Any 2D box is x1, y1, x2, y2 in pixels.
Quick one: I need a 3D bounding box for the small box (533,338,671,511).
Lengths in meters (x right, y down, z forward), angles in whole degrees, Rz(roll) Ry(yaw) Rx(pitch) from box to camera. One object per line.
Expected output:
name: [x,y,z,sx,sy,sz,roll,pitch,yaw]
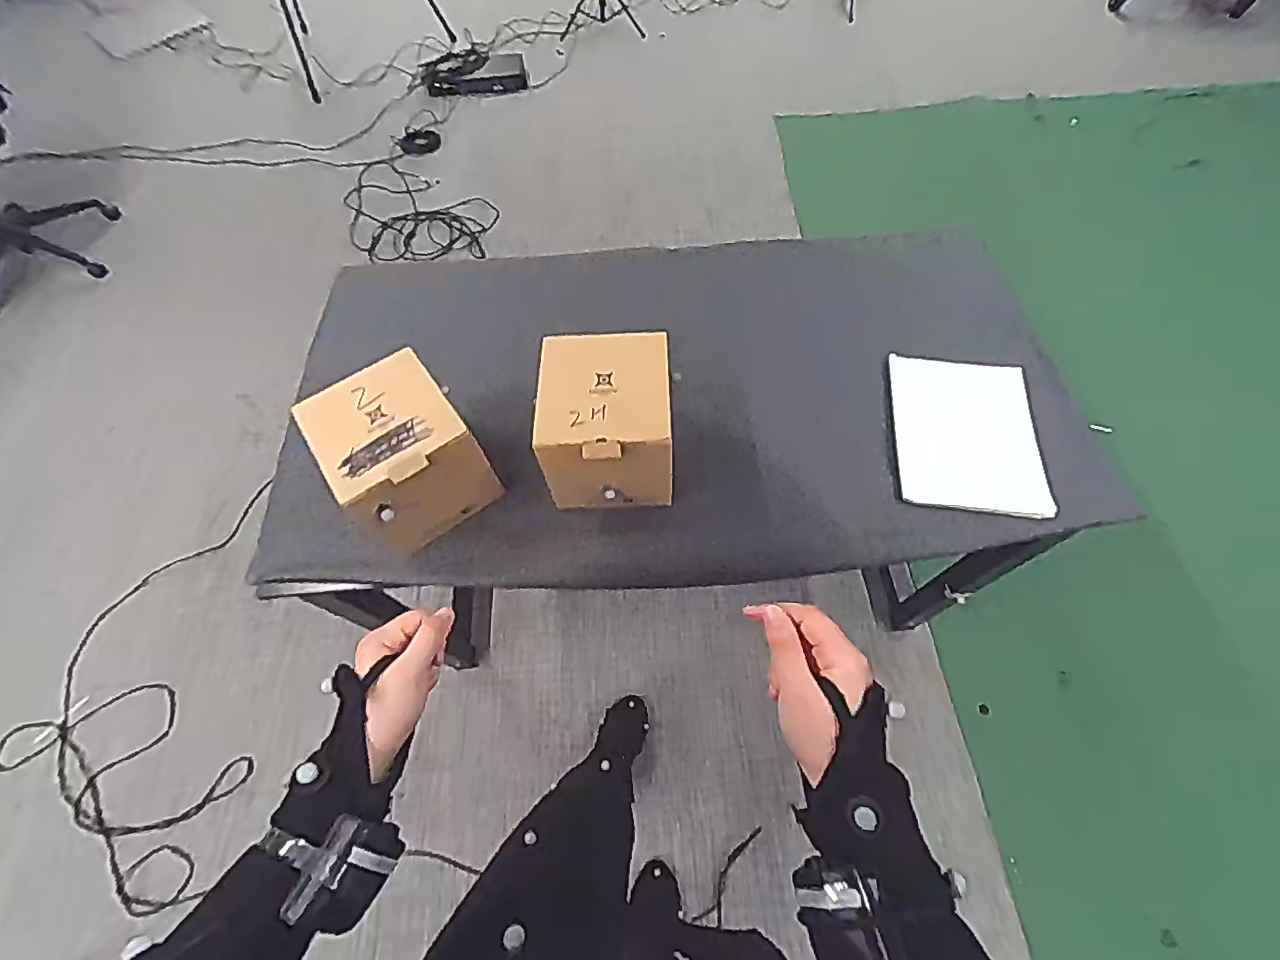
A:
small box: [-0.042,-0.072,0.747,0.168,0.176,0.179,-3,60,3]
